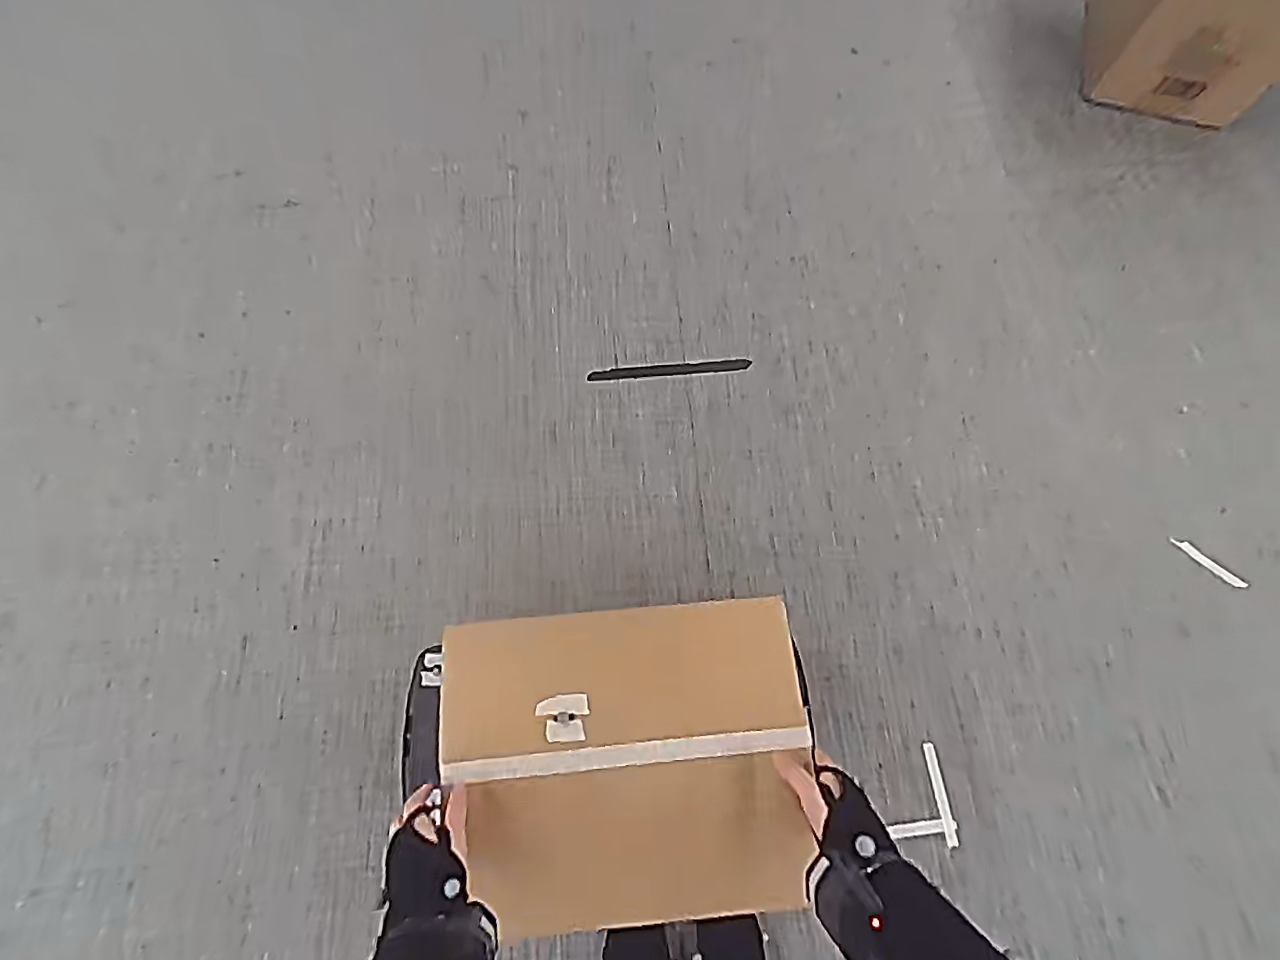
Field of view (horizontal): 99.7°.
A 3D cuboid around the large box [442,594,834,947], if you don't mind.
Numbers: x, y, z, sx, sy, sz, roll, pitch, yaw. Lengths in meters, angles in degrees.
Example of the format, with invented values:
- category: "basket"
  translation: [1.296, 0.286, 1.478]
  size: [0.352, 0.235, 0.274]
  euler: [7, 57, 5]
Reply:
- category: "large box"
  translation: [-0.012, 0.344, 0.728]
  size: [0.408, 0.320, 0.320]
  euler: [-5, 71, -1]
